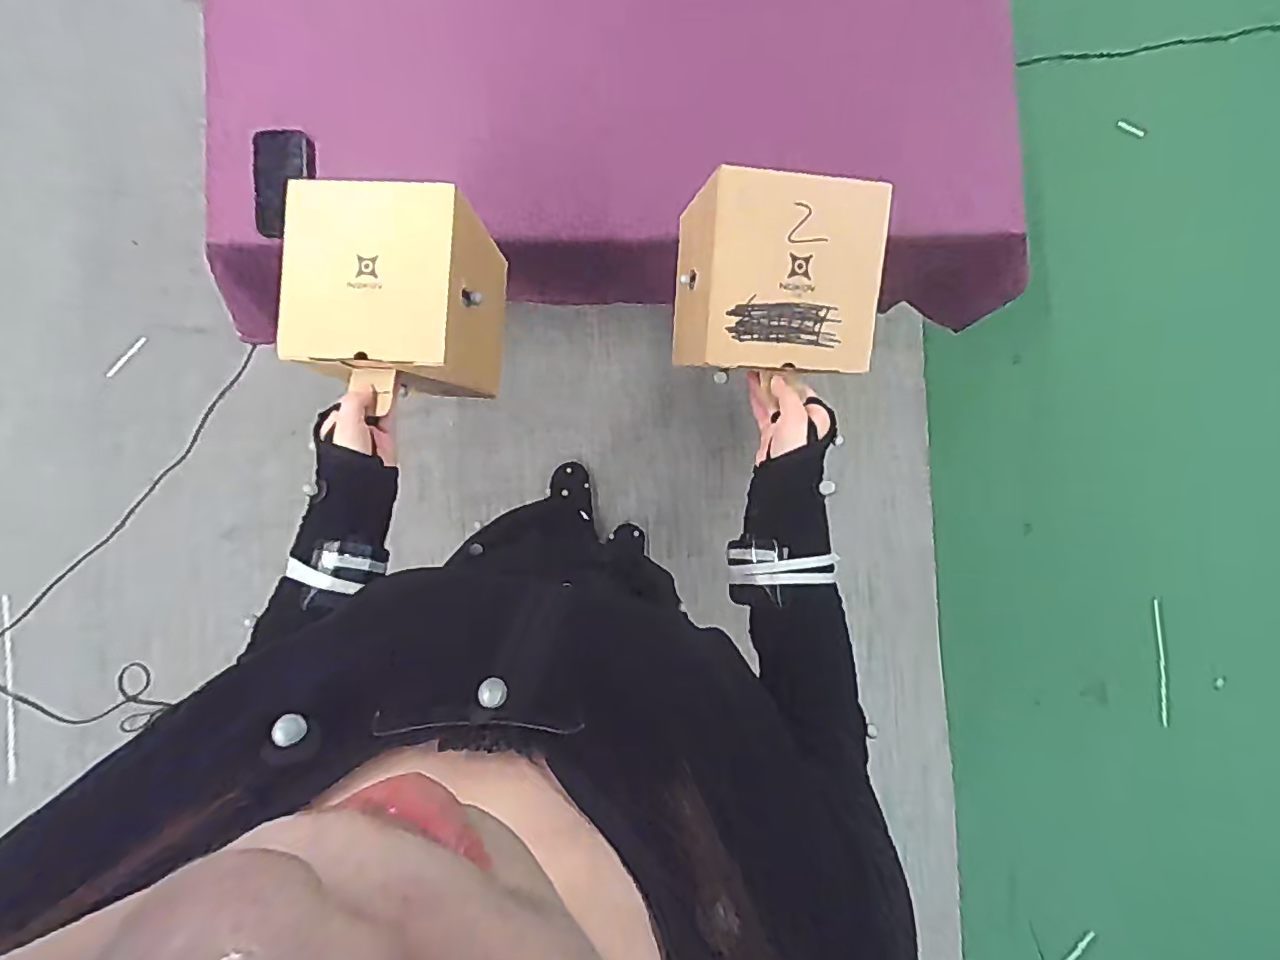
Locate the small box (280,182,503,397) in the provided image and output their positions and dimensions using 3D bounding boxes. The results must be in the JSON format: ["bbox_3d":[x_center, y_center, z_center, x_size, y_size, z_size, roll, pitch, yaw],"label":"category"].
[{"bbox_3d":[-0.258,-0.197,0.601,0.168,0.176,0.179,3,89,2],"label":"small box"}]
